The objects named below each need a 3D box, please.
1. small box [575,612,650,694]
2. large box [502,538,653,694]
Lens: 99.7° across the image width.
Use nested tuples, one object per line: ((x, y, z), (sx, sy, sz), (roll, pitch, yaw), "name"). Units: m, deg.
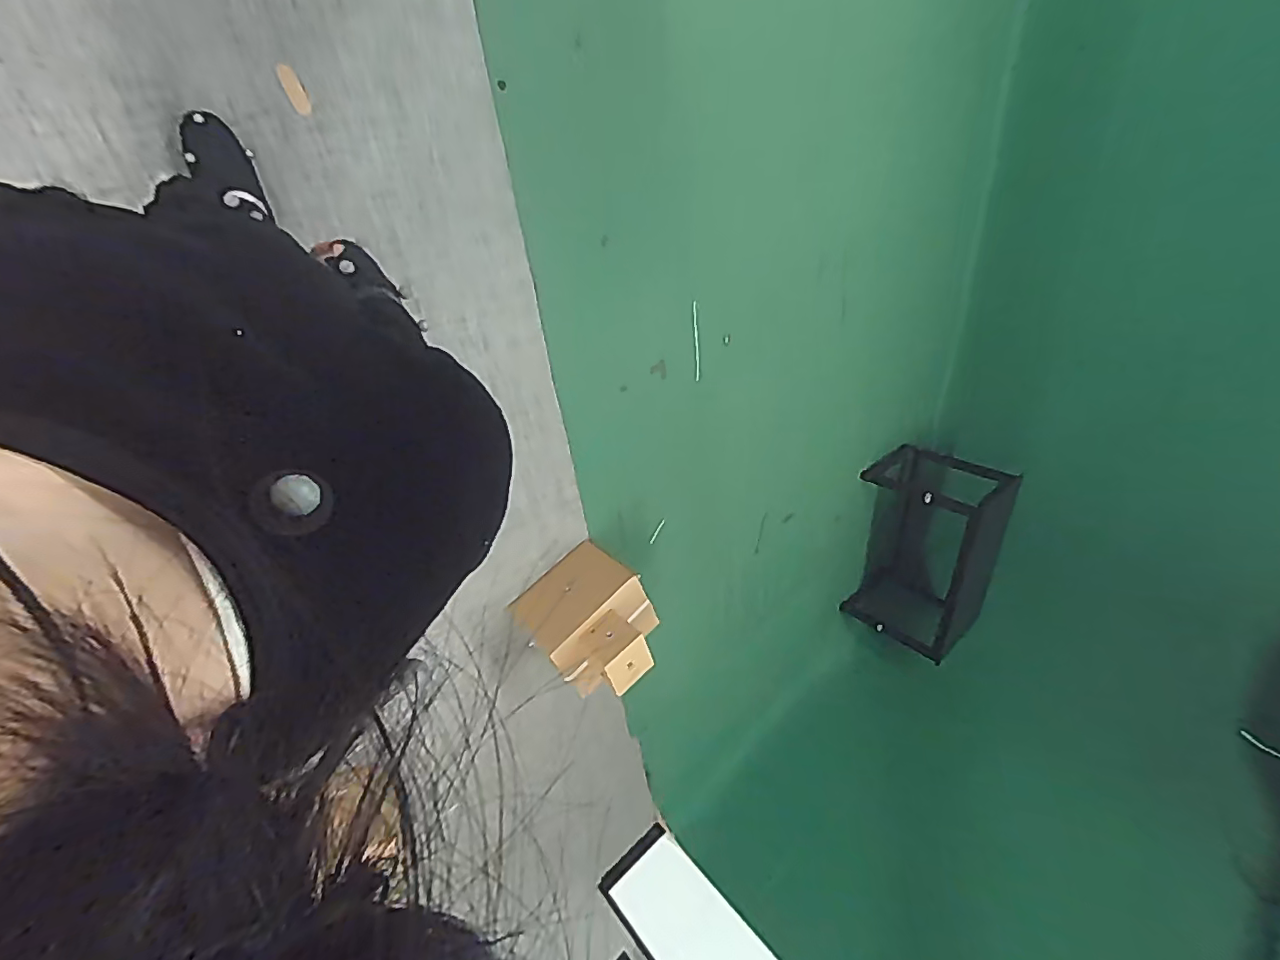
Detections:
((-0.094, 0.574, 1.829), (0.168, 0.176, 0.179), (-36, 130, -25), "small box")
((-0.228, 0.497, 2.026), (0.408, 0.320, 0.320), (-42, 134, -22), "large box")
